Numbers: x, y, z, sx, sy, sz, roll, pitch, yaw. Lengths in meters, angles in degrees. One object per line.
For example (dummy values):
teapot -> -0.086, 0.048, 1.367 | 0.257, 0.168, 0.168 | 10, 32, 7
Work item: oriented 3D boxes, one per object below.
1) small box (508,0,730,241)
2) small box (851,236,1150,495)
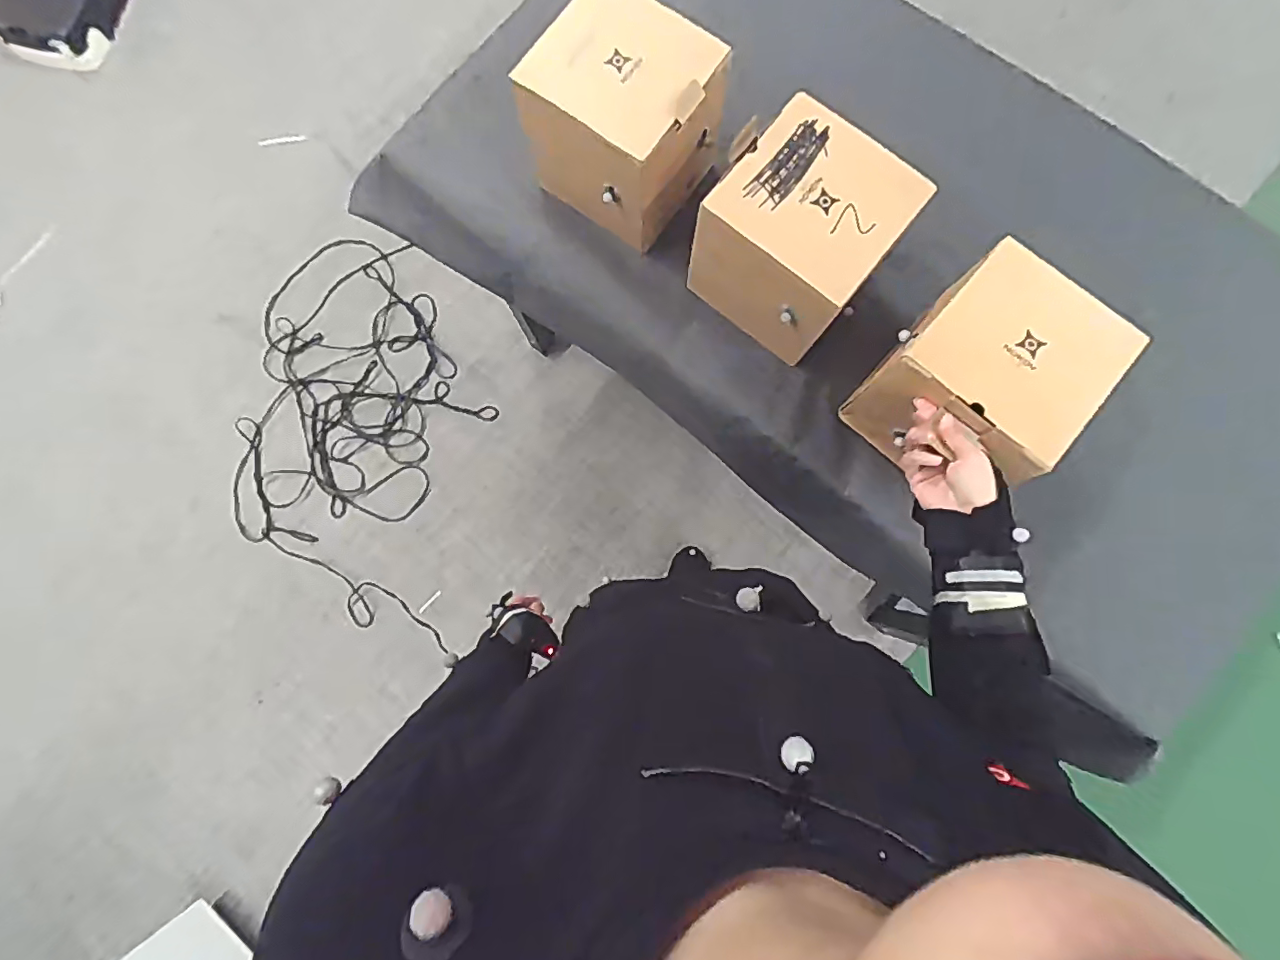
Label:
small box -> -0.020, -0.418, 0.637 | 0.179, 0.176, 0.168 | 34, 83, 6
small box -> 0.361, -0.108, 0.579 | 0.168, 0.176, 0.179 | 41, 80, 7
